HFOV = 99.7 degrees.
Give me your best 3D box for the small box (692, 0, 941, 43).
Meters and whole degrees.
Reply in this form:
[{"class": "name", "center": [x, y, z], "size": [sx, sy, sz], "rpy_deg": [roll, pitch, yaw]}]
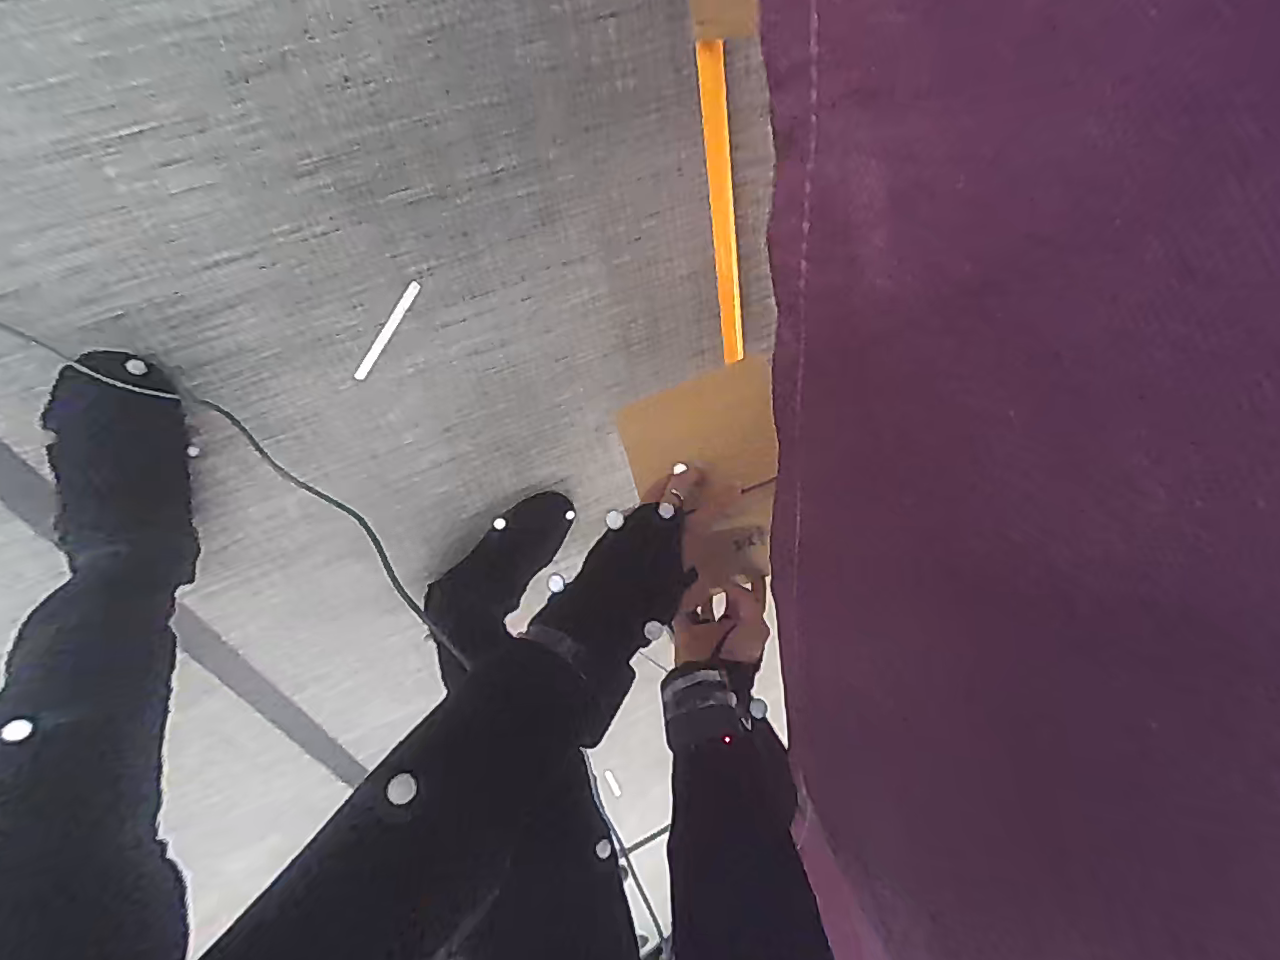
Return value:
[{"class": "small box", "center": [0.137, -0.451, 0.402], "size": [0.168, 0.176, 0.179], "rpy_deg": [-24, 130, -10]}]
